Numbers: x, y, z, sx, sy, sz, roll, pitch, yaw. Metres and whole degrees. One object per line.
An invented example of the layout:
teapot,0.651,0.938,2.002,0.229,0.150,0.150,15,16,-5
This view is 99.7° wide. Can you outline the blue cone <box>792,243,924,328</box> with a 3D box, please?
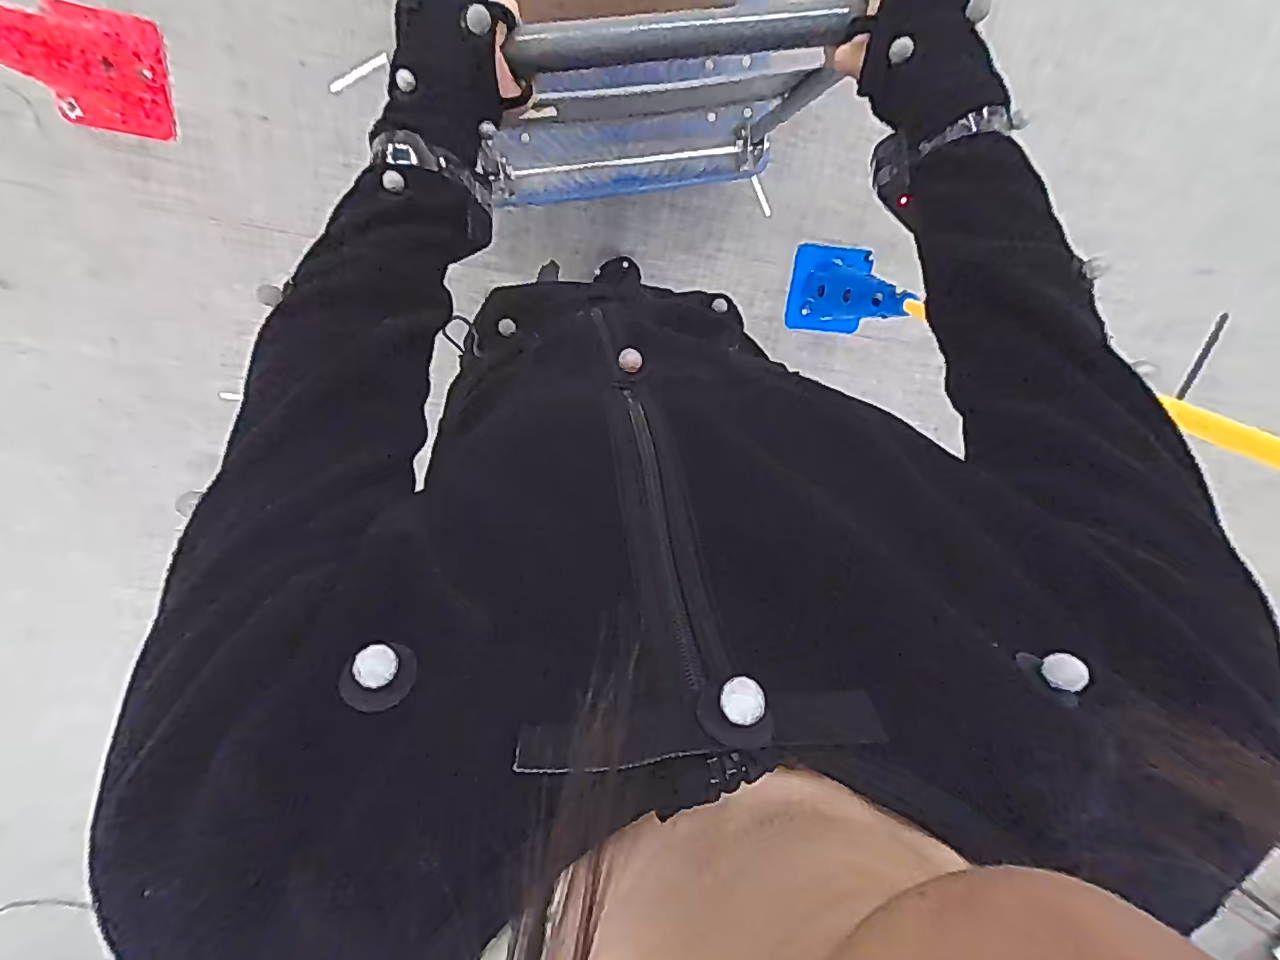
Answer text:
blue cone,0.495,-0.415,1.188,0.193,0.380,0.192,4,112,-9
